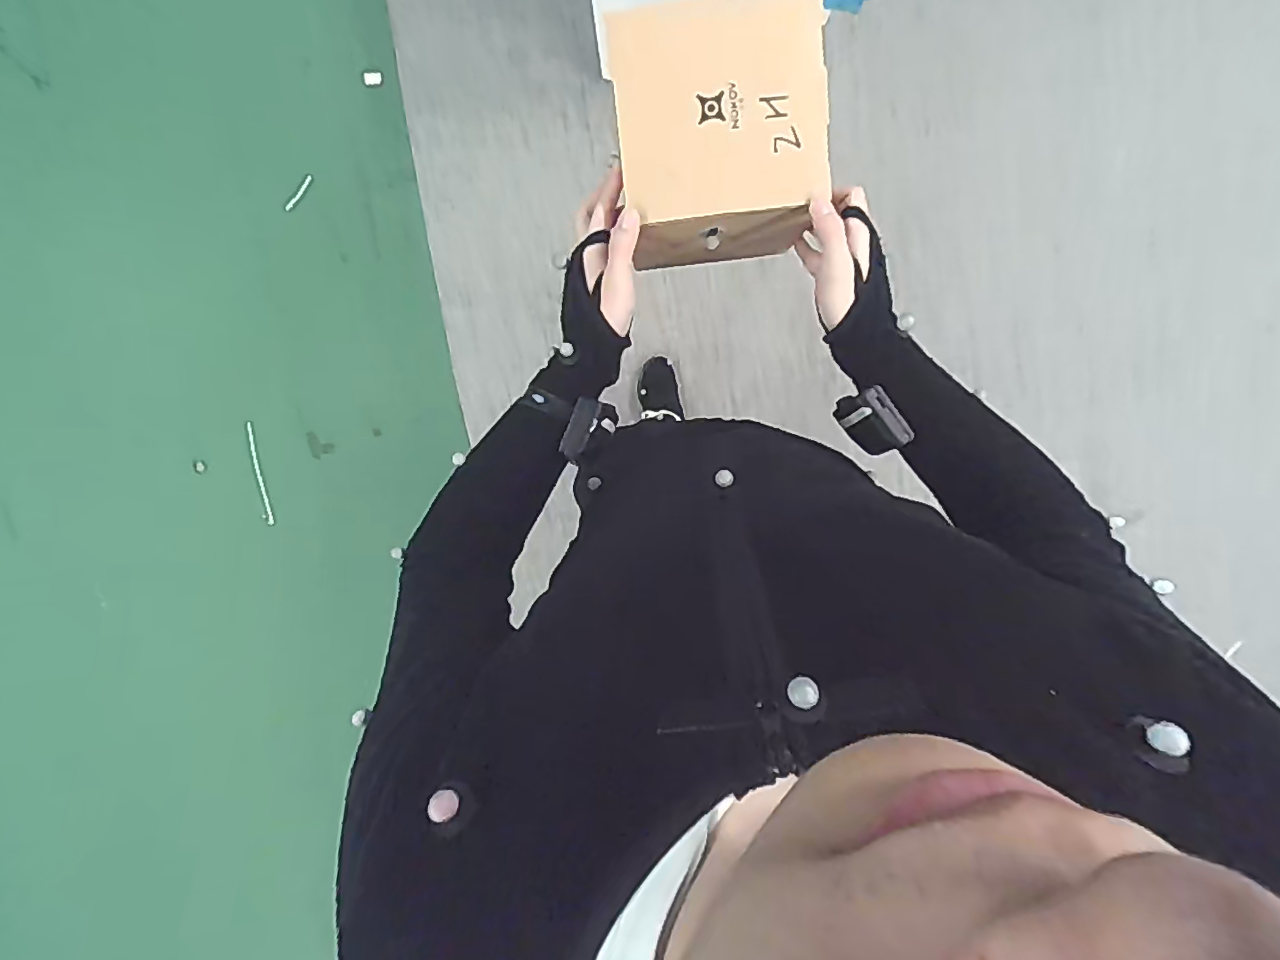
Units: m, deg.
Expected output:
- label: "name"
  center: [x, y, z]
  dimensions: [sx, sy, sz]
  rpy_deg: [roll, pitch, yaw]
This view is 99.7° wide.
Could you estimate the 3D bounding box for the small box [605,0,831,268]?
- label: "small box"
  center: [0.068, -0.314, 0.522]
  dimensions: [0.179, 0.176, 0.168]
  rpy_deg: [-6, 98, 2]
